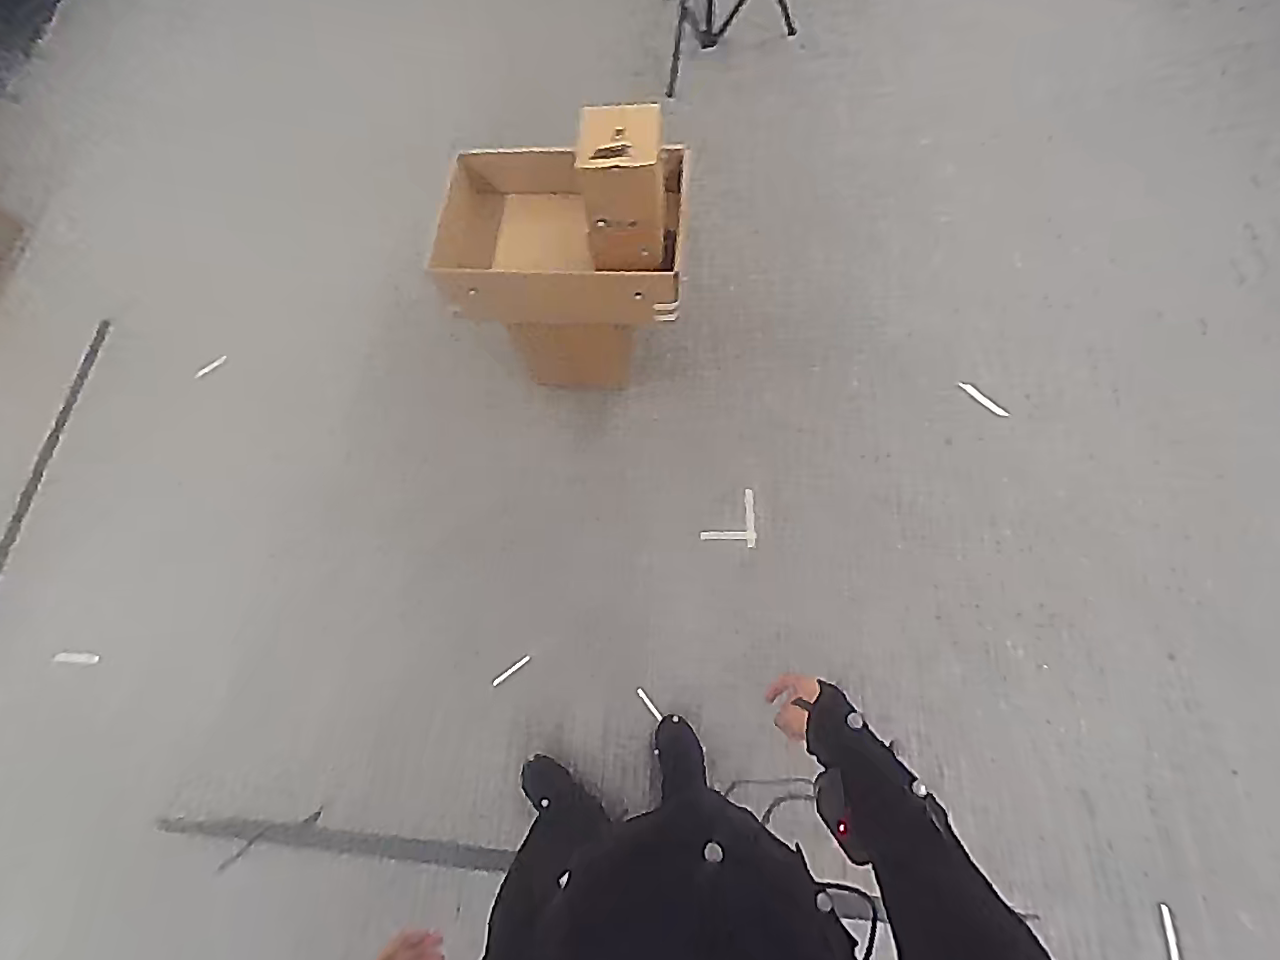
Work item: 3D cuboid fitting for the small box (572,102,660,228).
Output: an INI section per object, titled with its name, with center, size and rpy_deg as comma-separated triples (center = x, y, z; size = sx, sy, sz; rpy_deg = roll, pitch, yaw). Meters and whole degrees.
[small box]
center = -0.043, -0.668, 1.166
size = 0.168, 0.176, 0.179
rpy_deg = 0, 70, 5
